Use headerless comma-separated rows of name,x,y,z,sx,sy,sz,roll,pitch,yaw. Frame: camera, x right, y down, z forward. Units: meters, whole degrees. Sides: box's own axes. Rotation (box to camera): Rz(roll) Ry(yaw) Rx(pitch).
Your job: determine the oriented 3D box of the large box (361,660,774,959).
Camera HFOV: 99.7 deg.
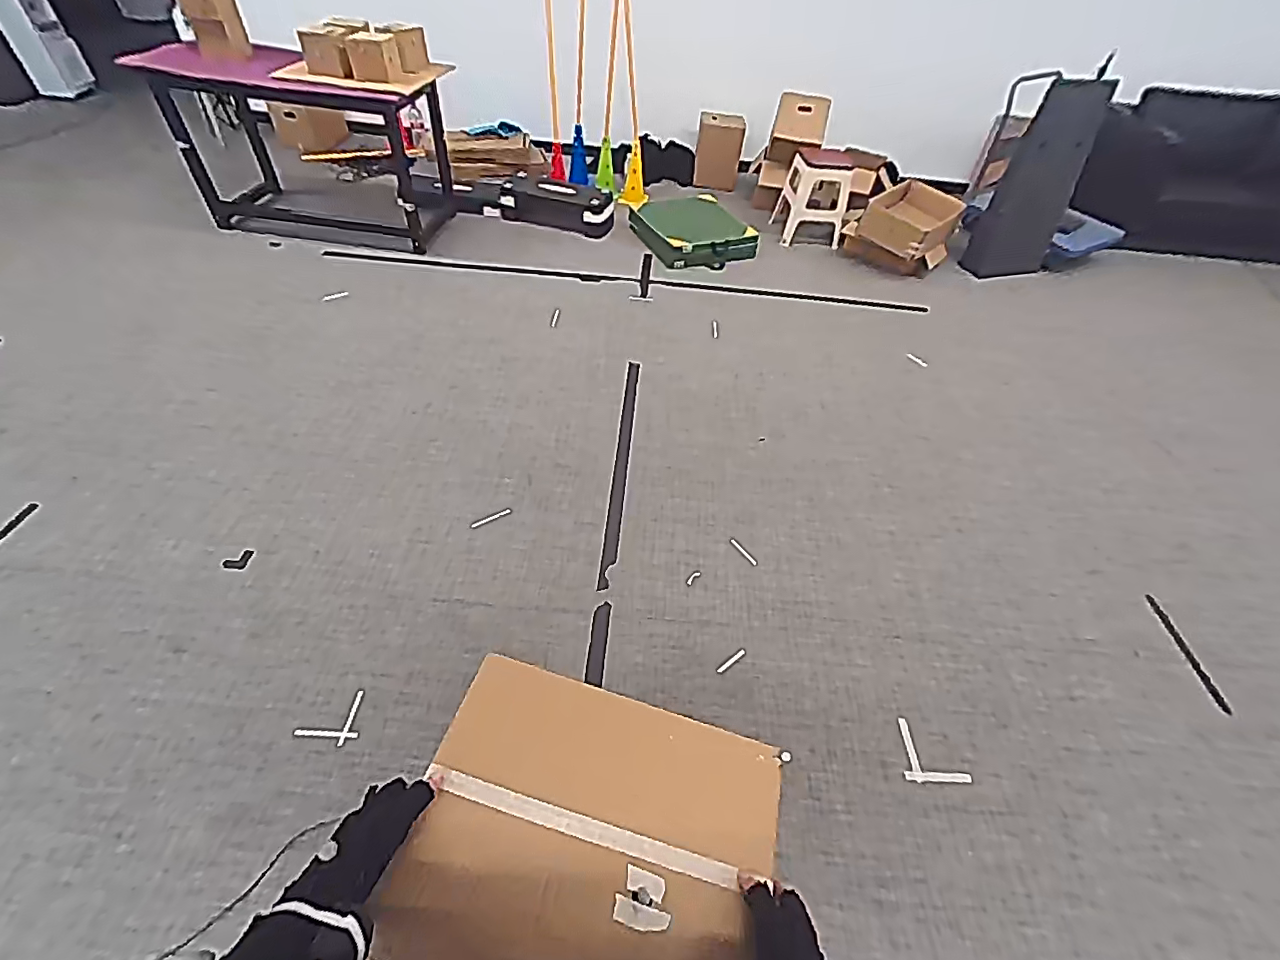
large box,-0.073,0.500,0.720,0.408,0.320,0.320,17,45,4
